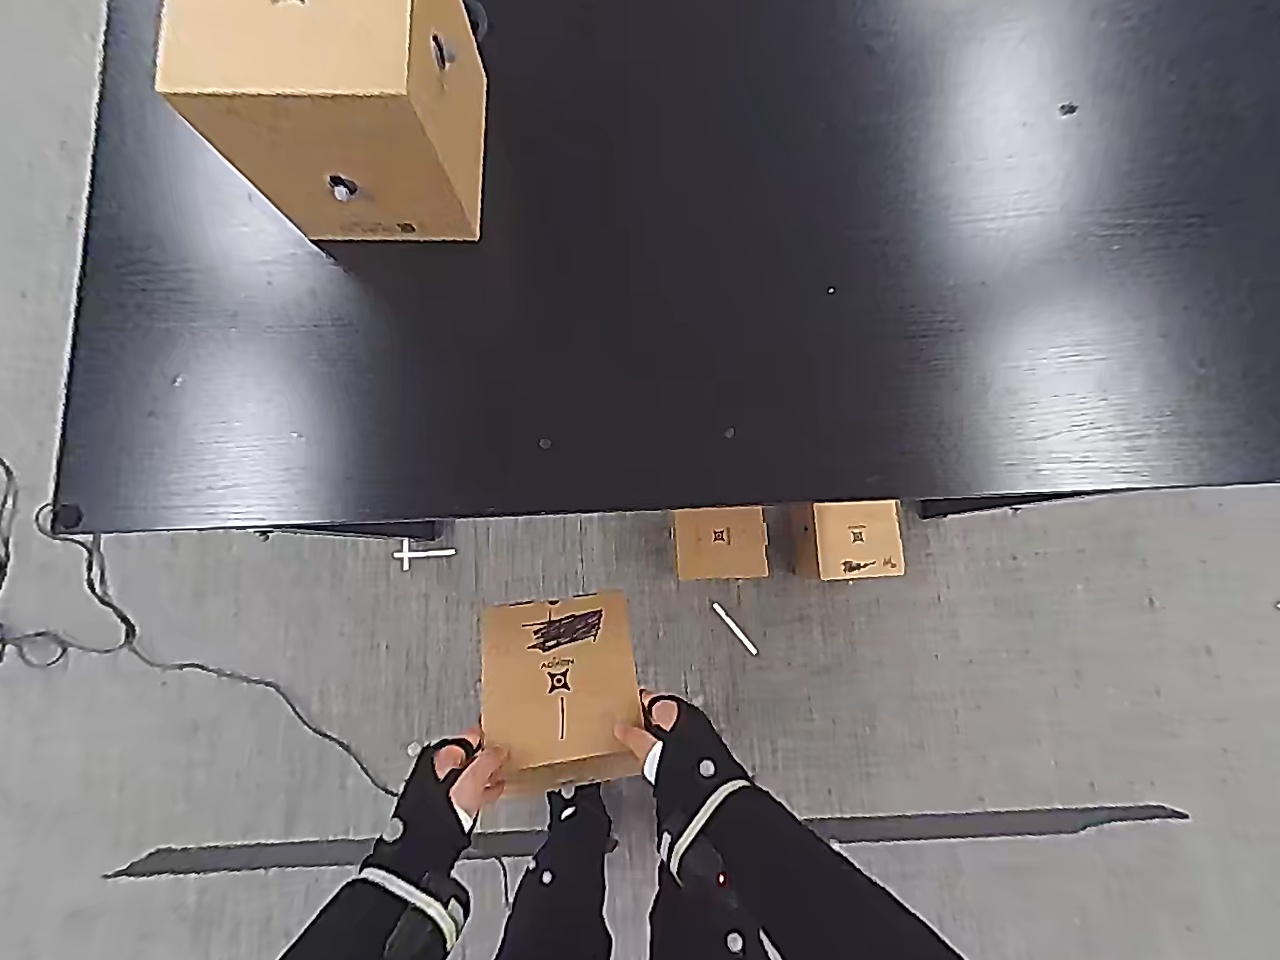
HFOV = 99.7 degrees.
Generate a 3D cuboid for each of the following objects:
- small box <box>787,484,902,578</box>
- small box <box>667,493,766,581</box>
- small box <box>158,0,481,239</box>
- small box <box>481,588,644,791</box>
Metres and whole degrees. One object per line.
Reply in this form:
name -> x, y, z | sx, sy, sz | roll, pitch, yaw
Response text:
small box -> 0.414, 0.111, 1.123 | 0.168, 0.176, 0.179 | -4, 81, 0
small box -> 0.151, 0.120, 1.123 | 0.179, 0.176, 0.168 | -4, 81, 0
small box -> -0.238, -0.323, 0.449 | 0.168, 0.176, 0.179 | 0, 81, -1
small box -> -0.092, 0.253, 0.650 | 0.168, 0.176, 0.179 | -6, 54, -7
